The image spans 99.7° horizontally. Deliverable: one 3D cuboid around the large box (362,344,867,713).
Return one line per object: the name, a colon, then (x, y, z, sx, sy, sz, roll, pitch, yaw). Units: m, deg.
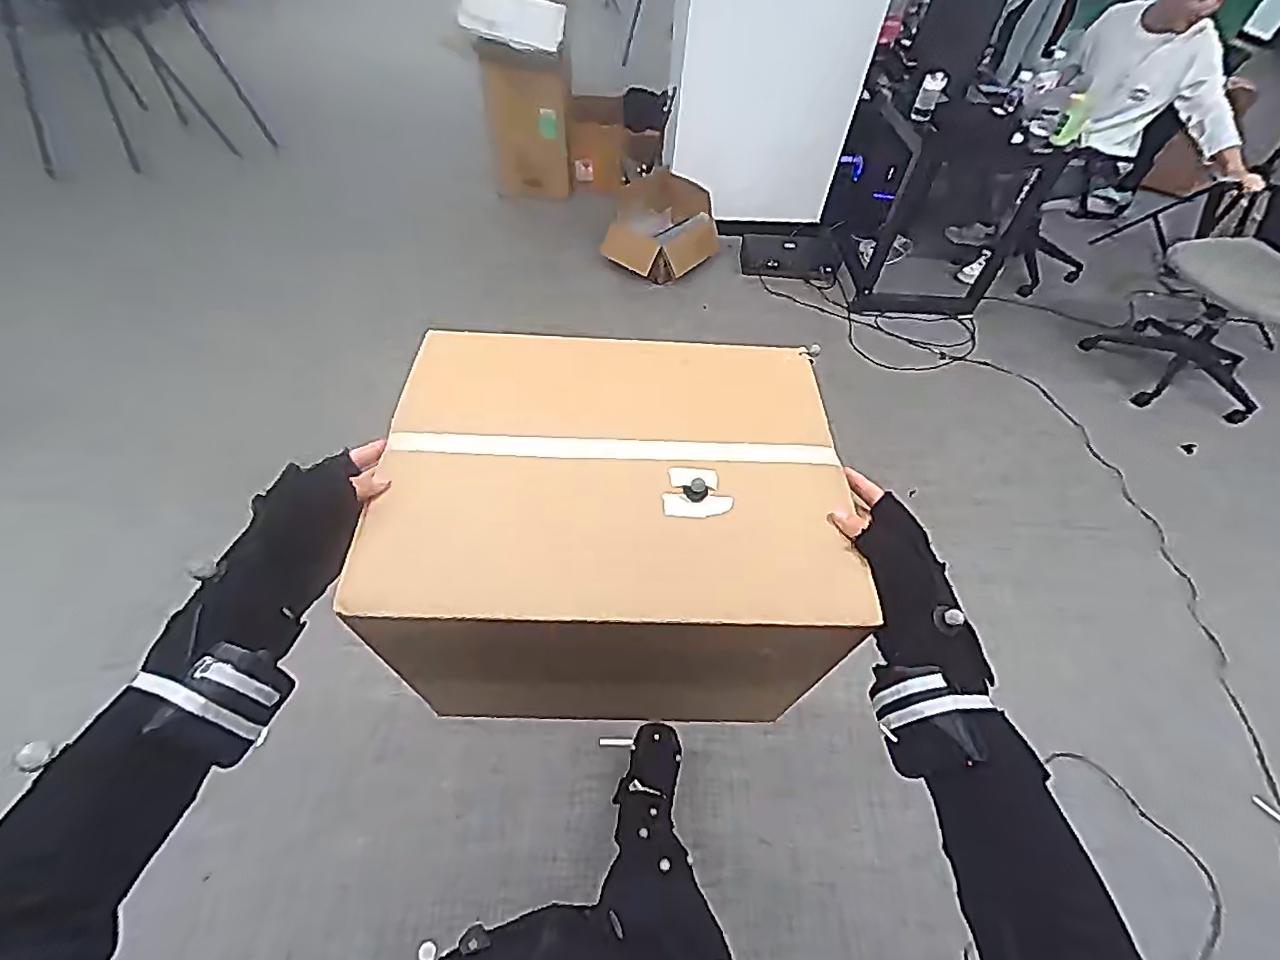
large box: (-0.028, 0.069, 0.625, 0.408, 0.320, 0.320, 2, 54, -3)
